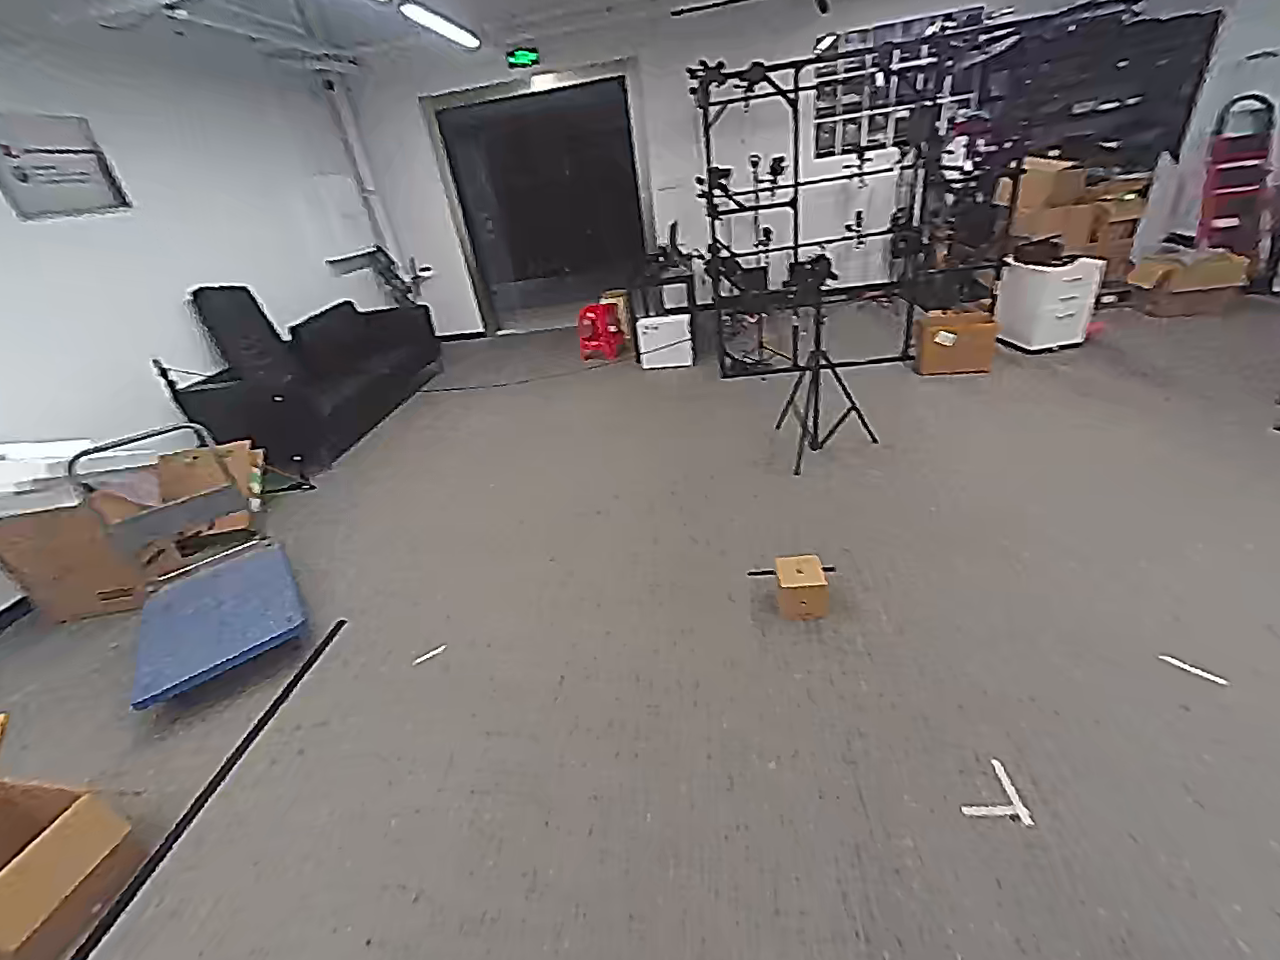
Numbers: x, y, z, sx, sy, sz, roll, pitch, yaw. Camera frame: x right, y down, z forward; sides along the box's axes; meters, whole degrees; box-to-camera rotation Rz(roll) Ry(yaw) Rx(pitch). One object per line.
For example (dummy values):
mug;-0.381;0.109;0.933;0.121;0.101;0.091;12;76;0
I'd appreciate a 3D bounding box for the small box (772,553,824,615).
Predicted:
small box;0.613;0.409;2.099;0.168;0.176;0.179;-5;29;7
